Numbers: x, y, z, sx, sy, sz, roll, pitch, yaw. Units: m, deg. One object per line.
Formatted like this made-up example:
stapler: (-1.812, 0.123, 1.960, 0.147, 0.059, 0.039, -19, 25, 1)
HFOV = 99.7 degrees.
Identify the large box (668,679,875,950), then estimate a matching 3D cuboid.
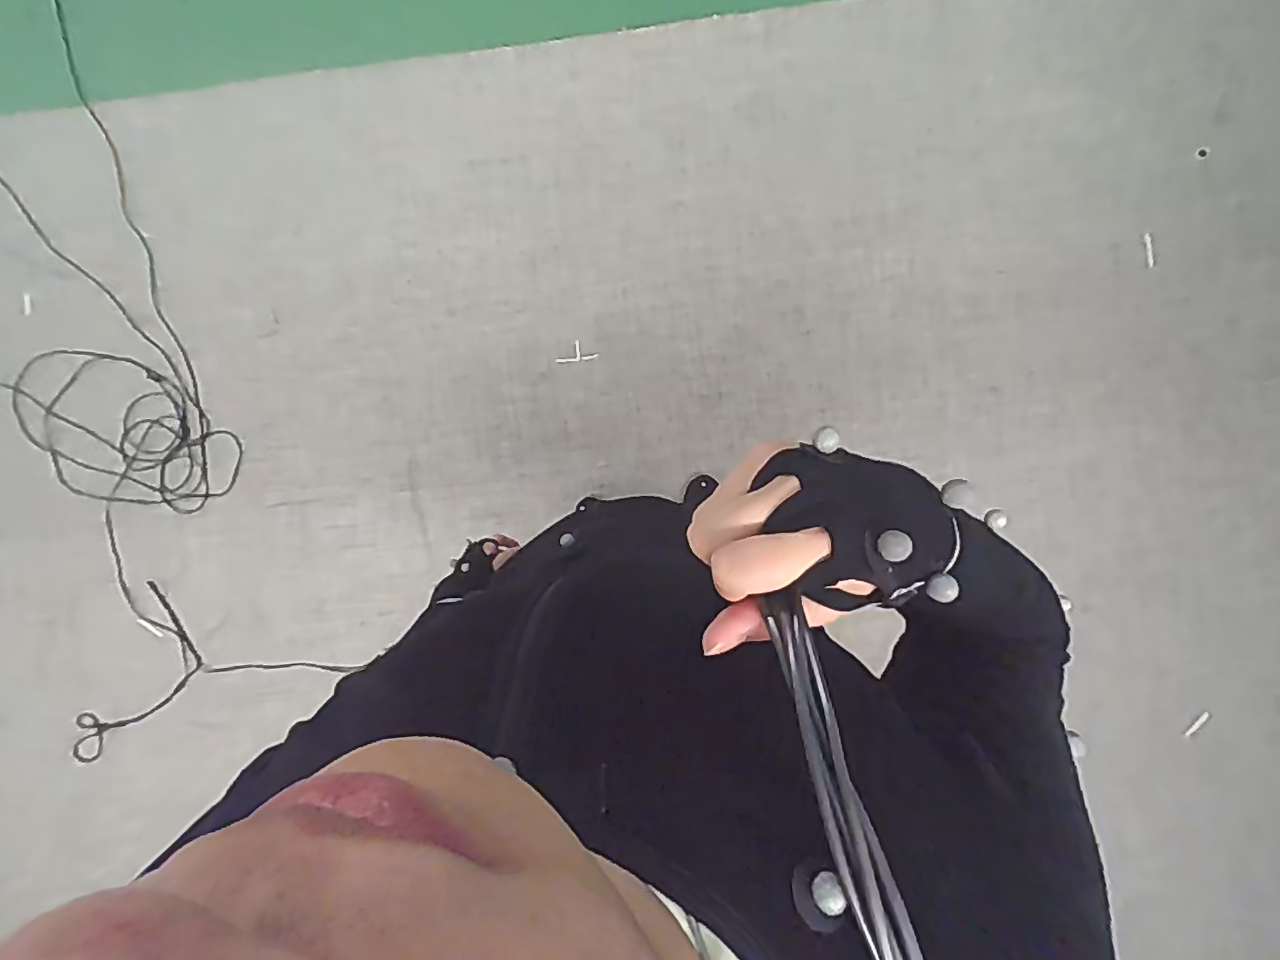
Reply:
large box: (0.289, 0.770, 1.306, 0.320, 0.320, 0.408, -21, 90, 0)
